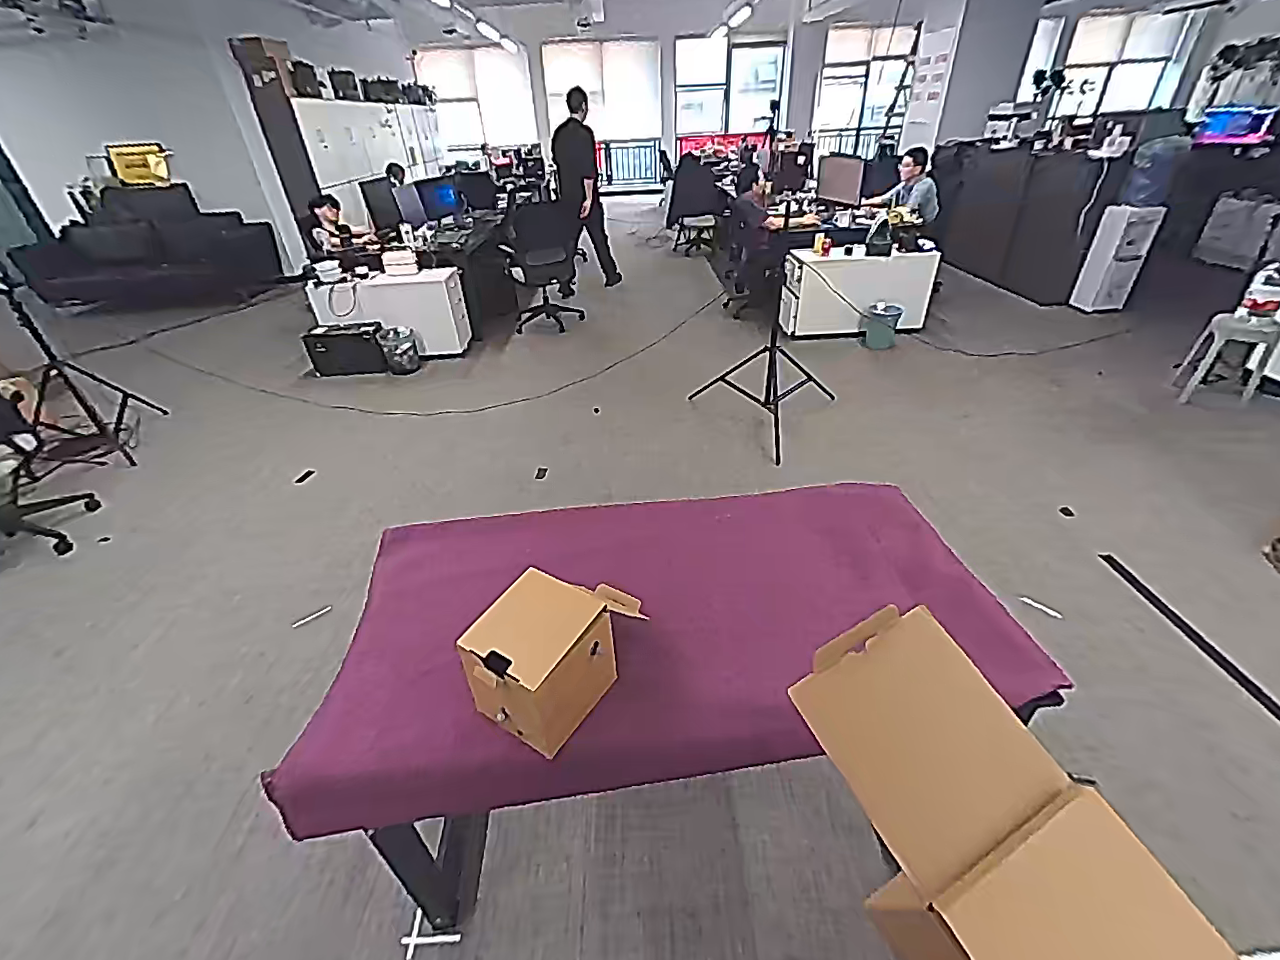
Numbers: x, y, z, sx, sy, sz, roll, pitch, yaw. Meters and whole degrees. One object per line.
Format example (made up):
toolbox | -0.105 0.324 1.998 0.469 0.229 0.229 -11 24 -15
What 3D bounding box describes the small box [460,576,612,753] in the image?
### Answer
small box | -0.158 0.294 0.878 0.168 0.176 0.179 17 38 30
